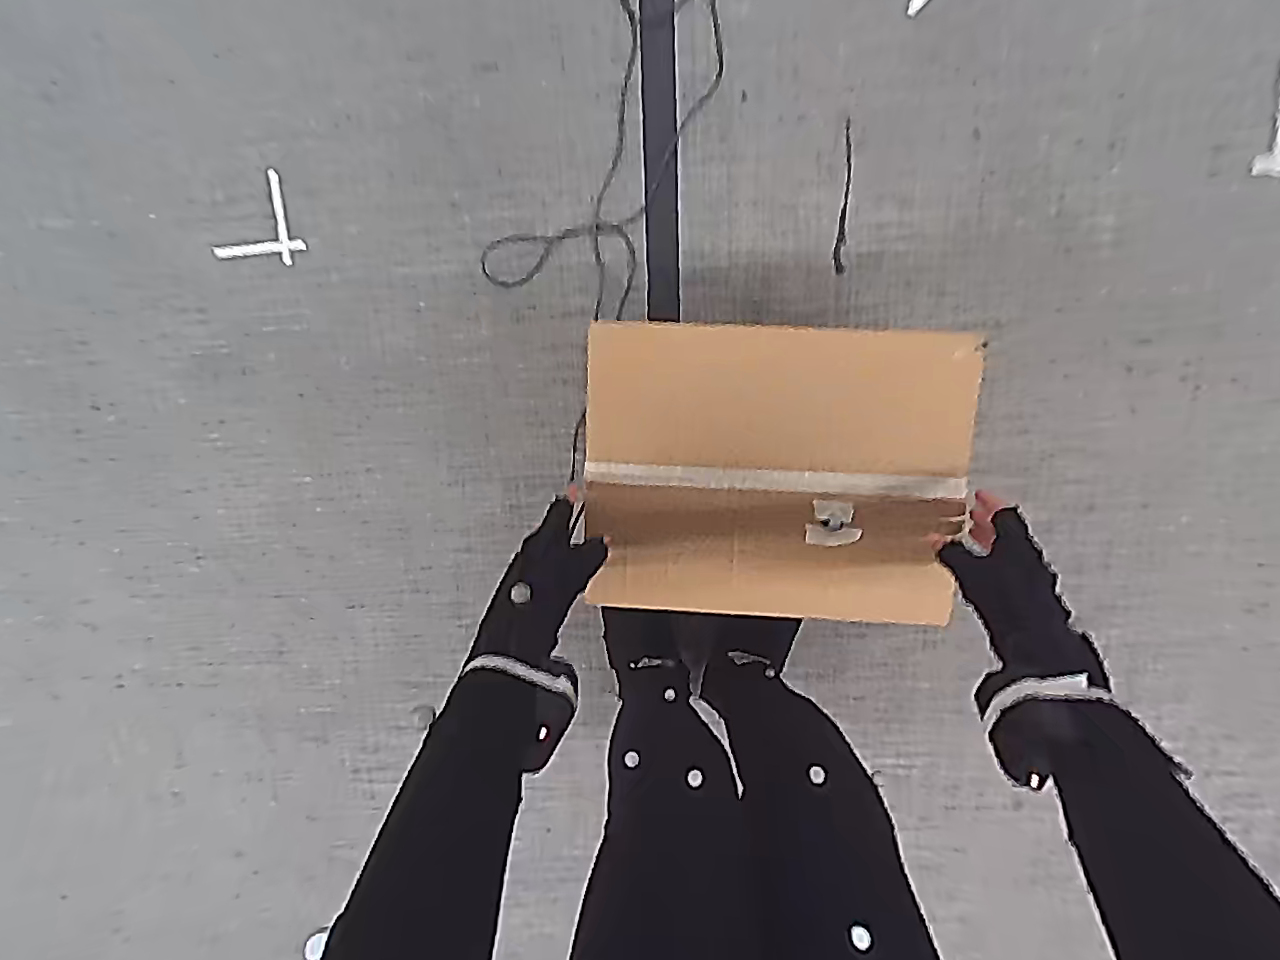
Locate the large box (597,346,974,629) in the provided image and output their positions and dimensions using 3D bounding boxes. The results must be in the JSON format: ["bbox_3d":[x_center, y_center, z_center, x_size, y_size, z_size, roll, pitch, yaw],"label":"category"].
[{"bbox_3d":[0.157,-0.009,0.746,0.408,0.320,0.320,3,100,3],"label":"large box"}]
